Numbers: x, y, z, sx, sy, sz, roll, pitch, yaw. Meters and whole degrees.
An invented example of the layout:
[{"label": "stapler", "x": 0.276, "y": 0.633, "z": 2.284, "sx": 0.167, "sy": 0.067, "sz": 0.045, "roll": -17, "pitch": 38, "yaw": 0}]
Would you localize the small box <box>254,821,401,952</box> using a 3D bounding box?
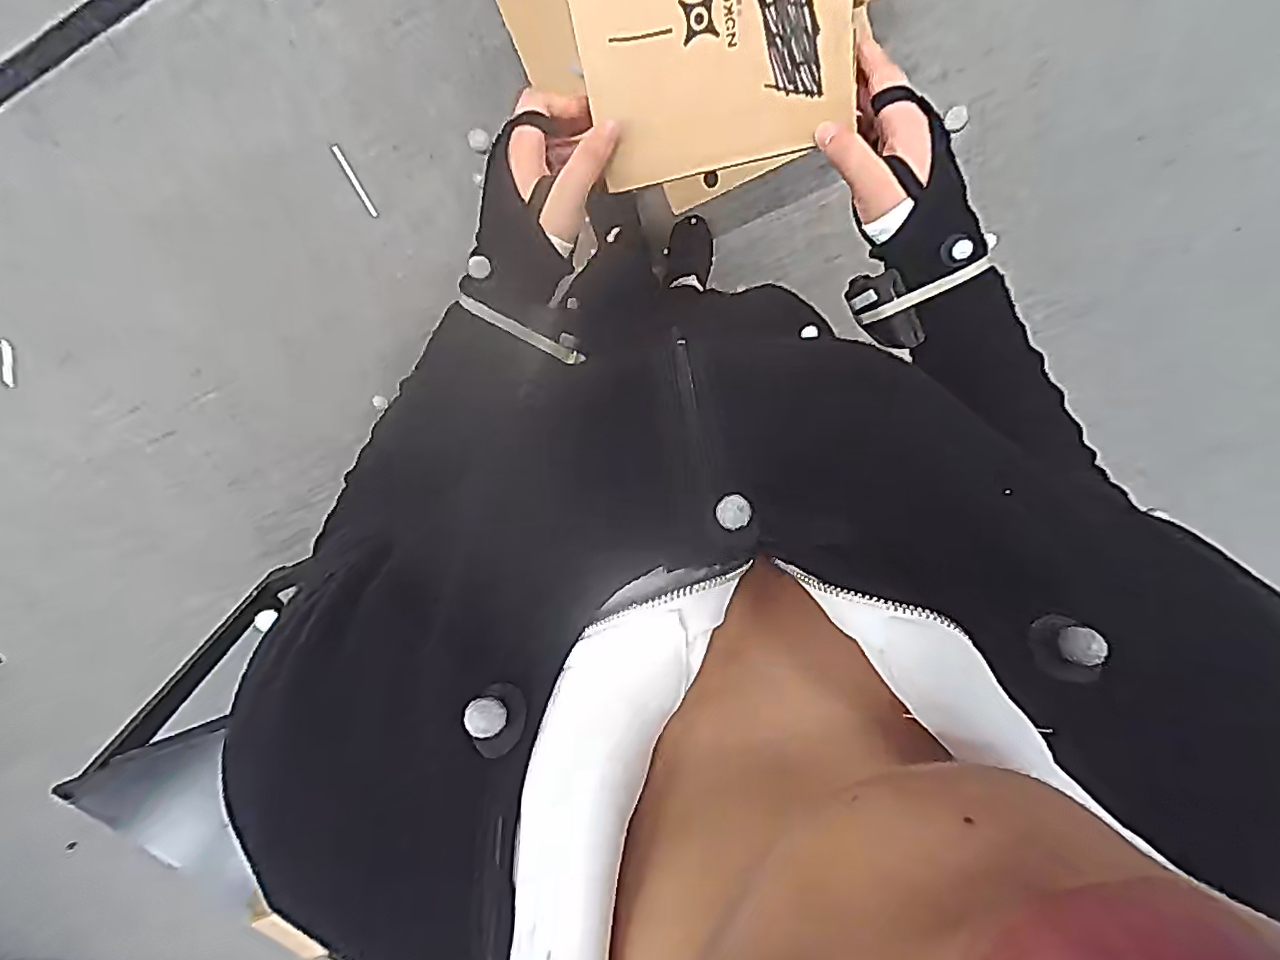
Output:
[{"label": "small box", "x": -0.650, "y": 0.855, "z": 1.150, "sx": 0.168, "sy": 0.176, "sz": 0.179, "roll": -21, "pitch": 118, "yaw": 12}]
